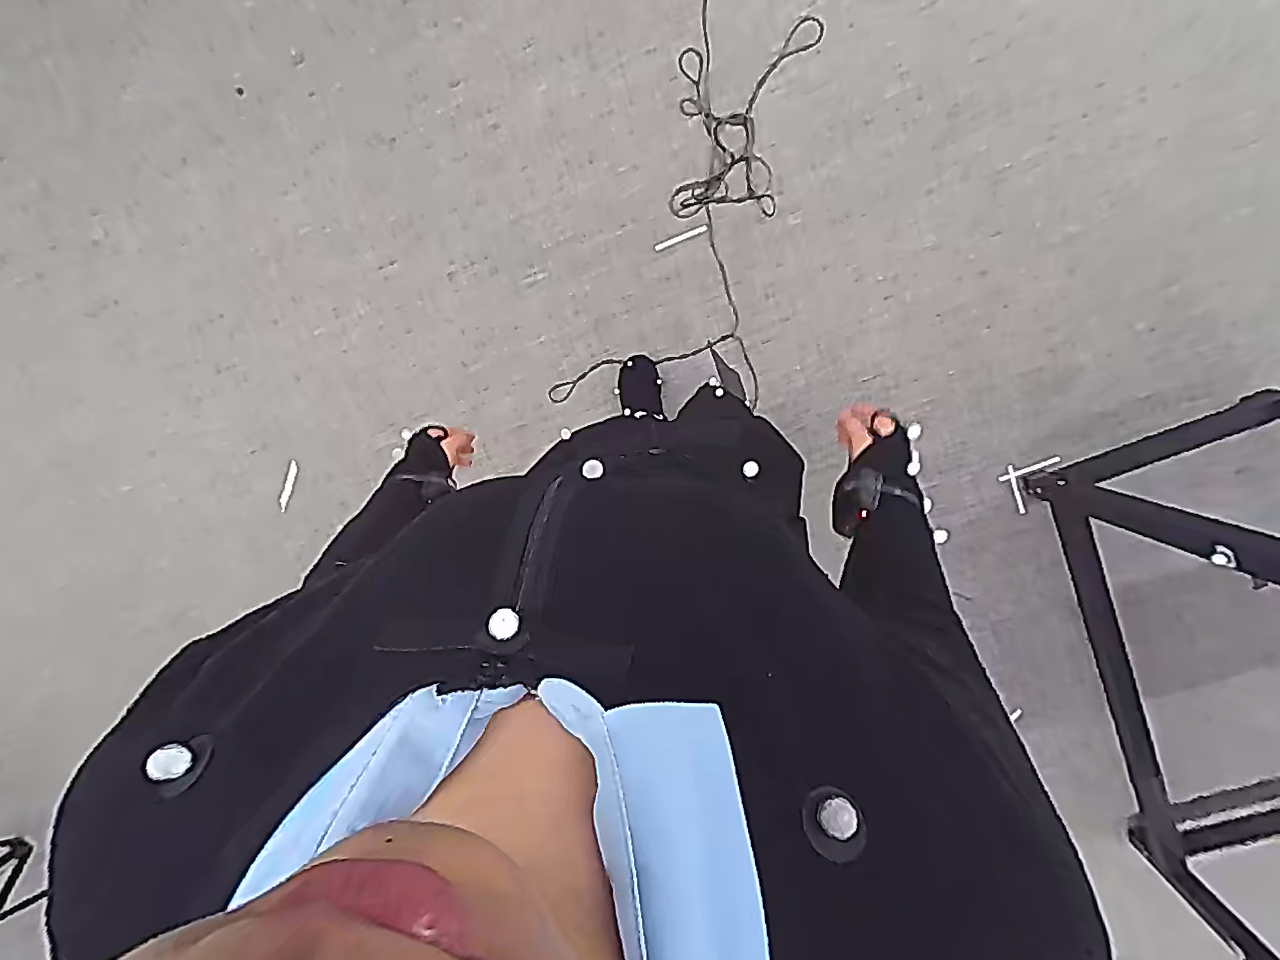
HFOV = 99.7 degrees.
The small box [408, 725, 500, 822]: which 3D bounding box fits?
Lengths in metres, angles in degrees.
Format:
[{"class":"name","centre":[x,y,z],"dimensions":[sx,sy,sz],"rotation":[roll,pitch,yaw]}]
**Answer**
[{"class":"small box","centre":[-0.541,0.858,1.592],"dimensions":[0.179,0.176,0.168],"rotation":[-17,102,7]}]
